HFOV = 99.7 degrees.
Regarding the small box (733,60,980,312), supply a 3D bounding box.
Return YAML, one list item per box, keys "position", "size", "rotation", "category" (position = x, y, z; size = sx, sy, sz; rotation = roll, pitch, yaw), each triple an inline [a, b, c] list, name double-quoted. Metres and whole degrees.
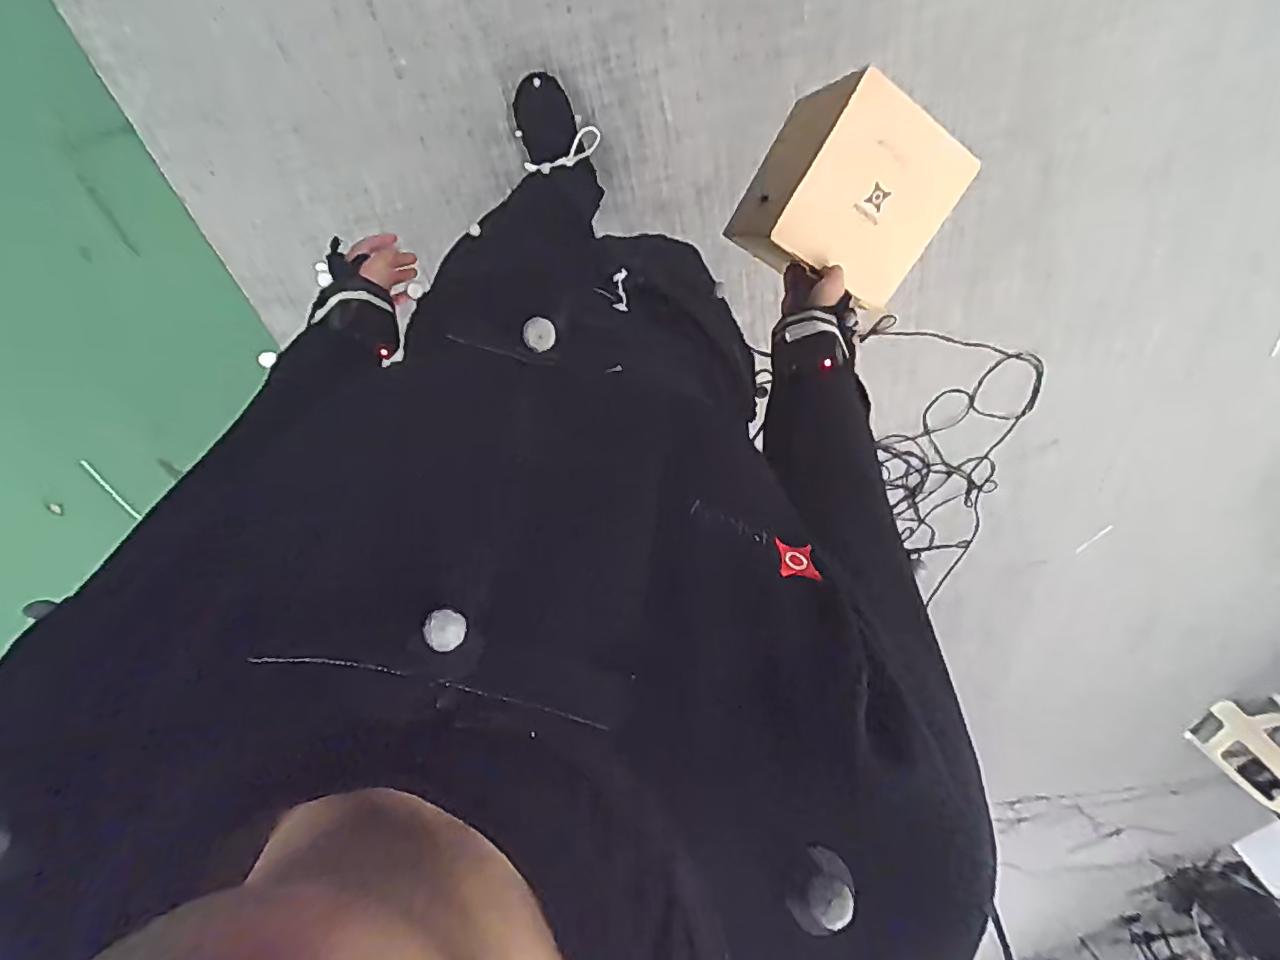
- position: [0.228, -0.323, 0.624]
  size: [0.168, 0.176, 0.179]
  rotation: [24, 109, -20]
  category: "small box"
